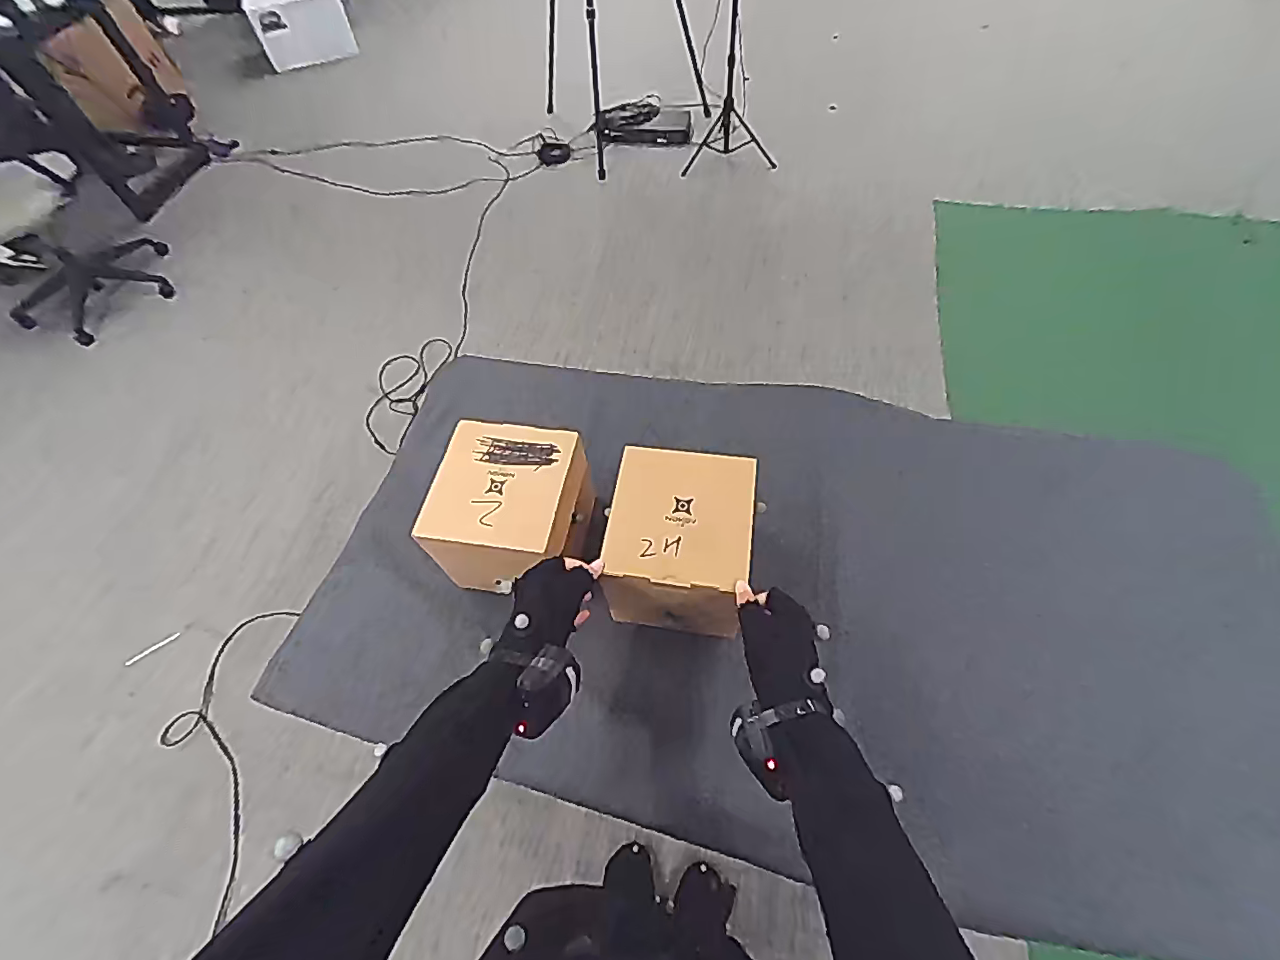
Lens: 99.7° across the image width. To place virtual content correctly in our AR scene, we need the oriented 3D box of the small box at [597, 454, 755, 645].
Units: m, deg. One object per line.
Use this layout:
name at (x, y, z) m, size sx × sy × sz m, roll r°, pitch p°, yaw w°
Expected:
small box at (0.050, 0.092, 0.693) m, size 0.168 × 0.176 × 0.179 m, roll 6°, pitch 58°, yaw 9°
